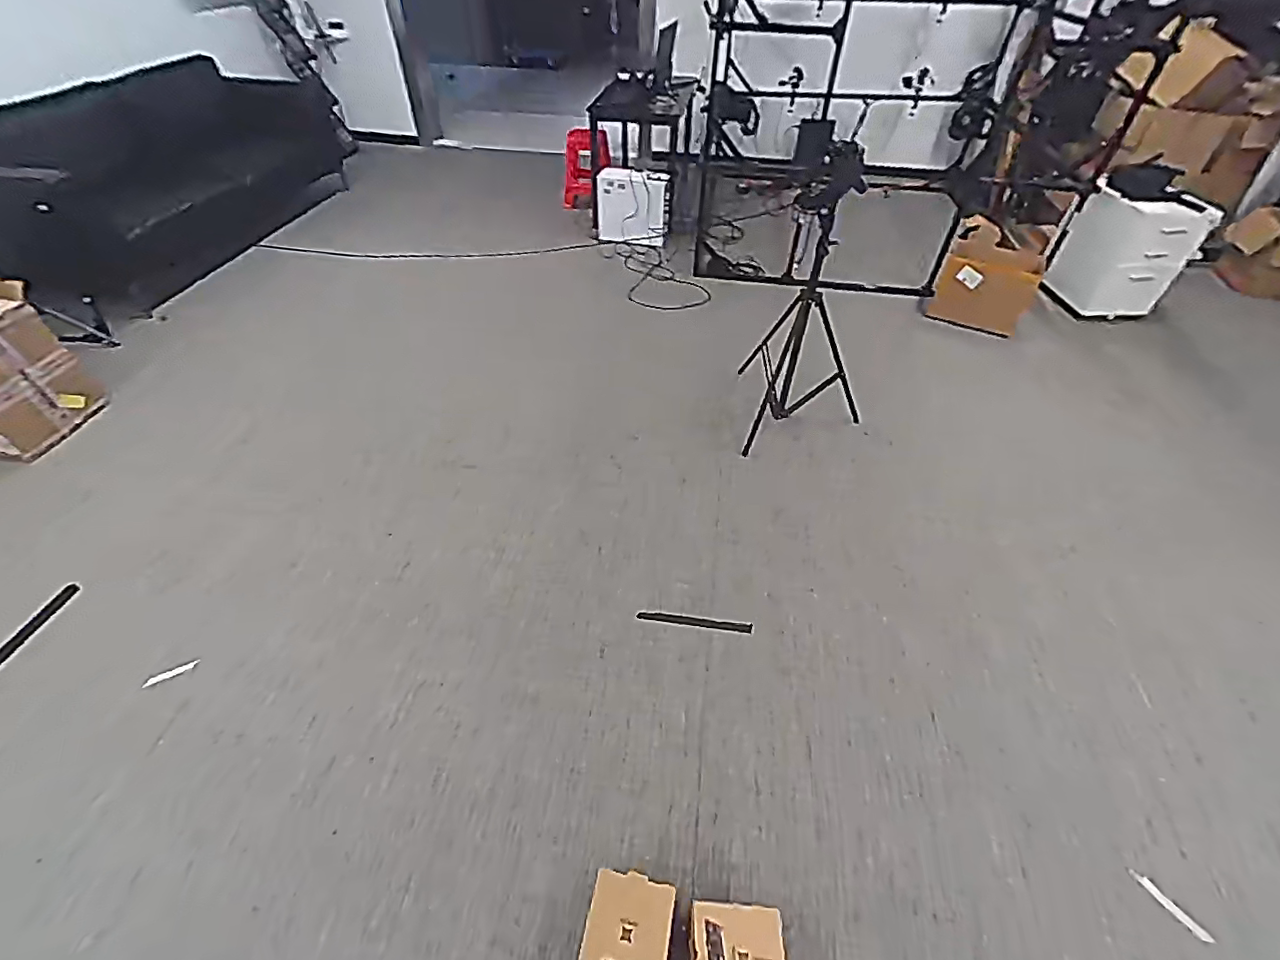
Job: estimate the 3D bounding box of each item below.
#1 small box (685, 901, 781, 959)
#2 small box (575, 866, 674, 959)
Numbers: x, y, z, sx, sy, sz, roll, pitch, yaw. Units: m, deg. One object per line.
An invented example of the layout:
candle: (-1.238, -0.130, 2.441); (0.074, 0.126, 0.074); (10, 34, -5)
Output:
small box: (0.180, 0.969, 1.084); (0.179, 0.176, 0.168); (4, 45, 2)
small box: (-0.030, 0.934, 1.111); (0.168, 0.176, 0.179); (10, 45, 9)
